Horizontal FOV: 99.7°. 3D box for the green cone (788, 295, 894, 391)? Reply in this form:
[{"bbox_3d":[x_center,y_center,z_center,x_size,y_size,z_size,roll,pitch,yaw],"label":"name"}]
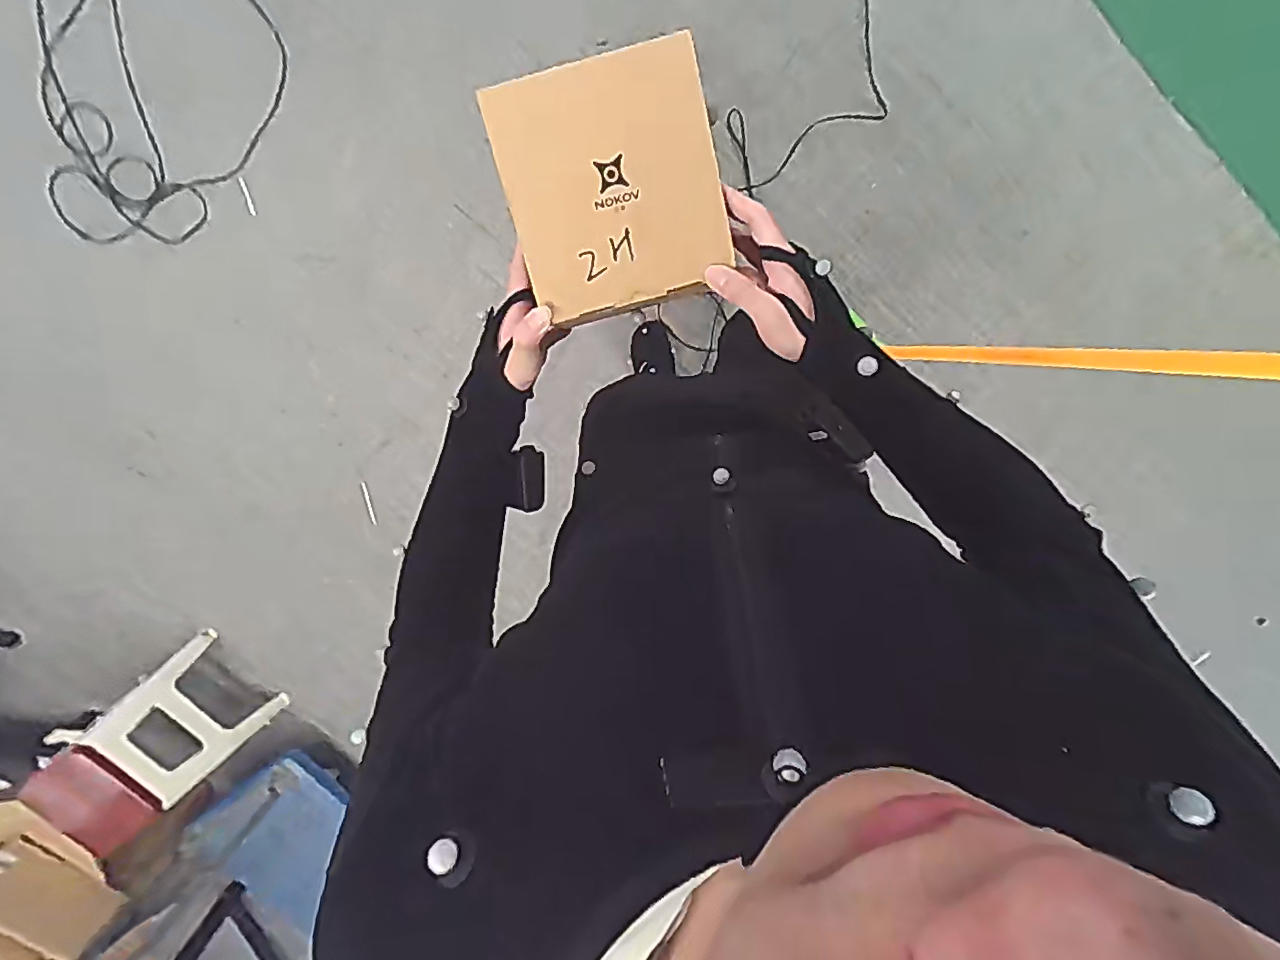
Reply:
[{"bbox_3d":[0.532,-0.325,1.317,0.202,0.368,0.200,40,103,-9],"label":"green cone"}]
